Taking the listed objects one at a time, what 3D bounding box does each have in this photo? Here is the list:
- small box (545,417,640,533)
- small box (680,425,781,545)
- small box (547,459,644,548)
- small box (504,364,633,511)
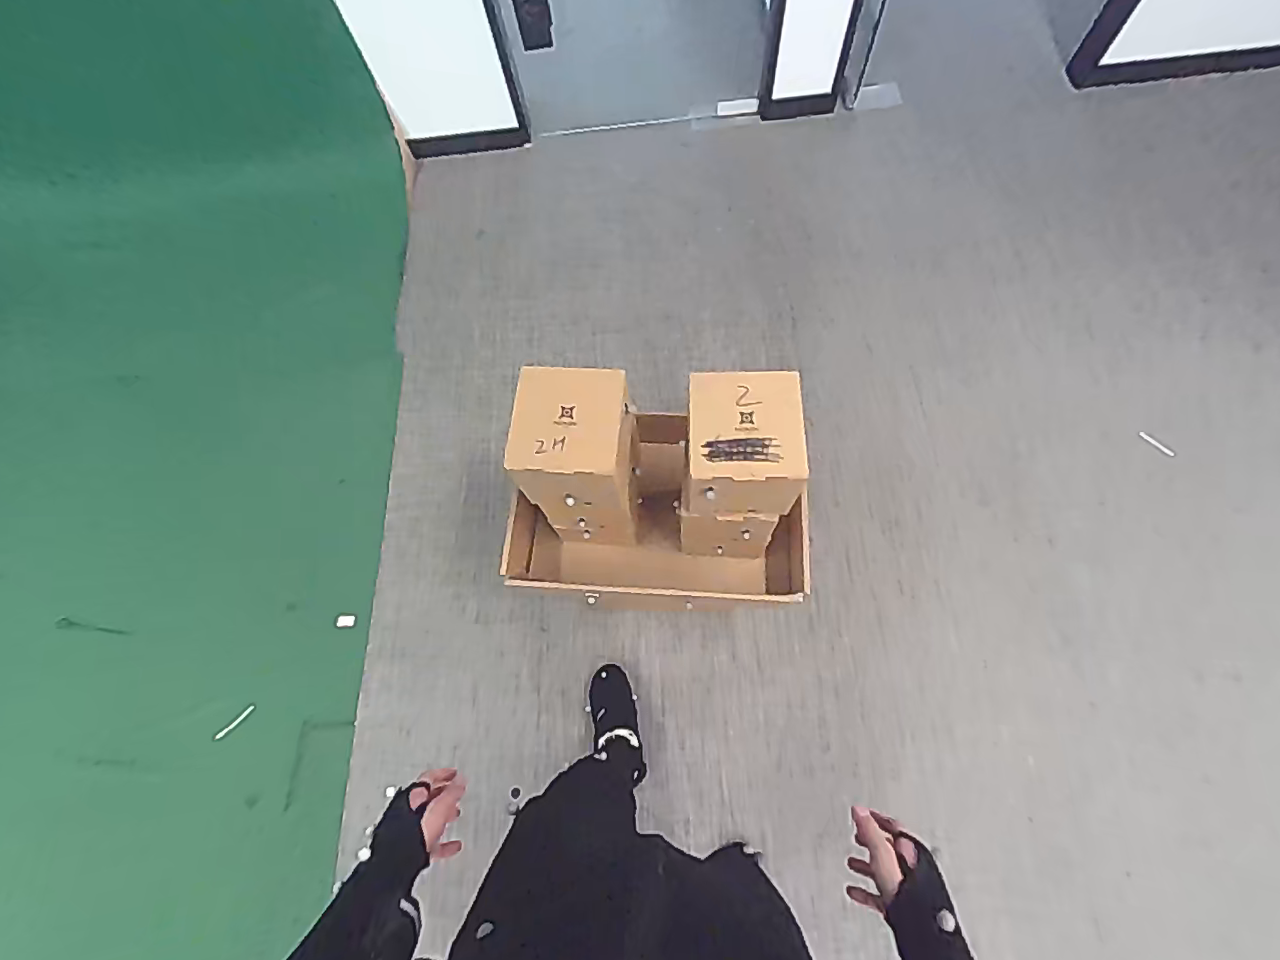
[{"bbox_3d":[-0.090,-0.011,1.028,0.168,0.176,0.179,4,69,5],"label":"small box"},{"bbox_3d":[0.162,0.015,0.997,0.168,0.176,0.179,4,69,5],"label":"small box"},{"bbox_3d":[-0.089,0.045,1.182,0.179,0.176,0.168,4,69,5],"label":"small box"},{"bbox_3d":[-0.104,-0.064,0.873,0.168,0.176,0.179,4,69,5],"label":"small box"}]
